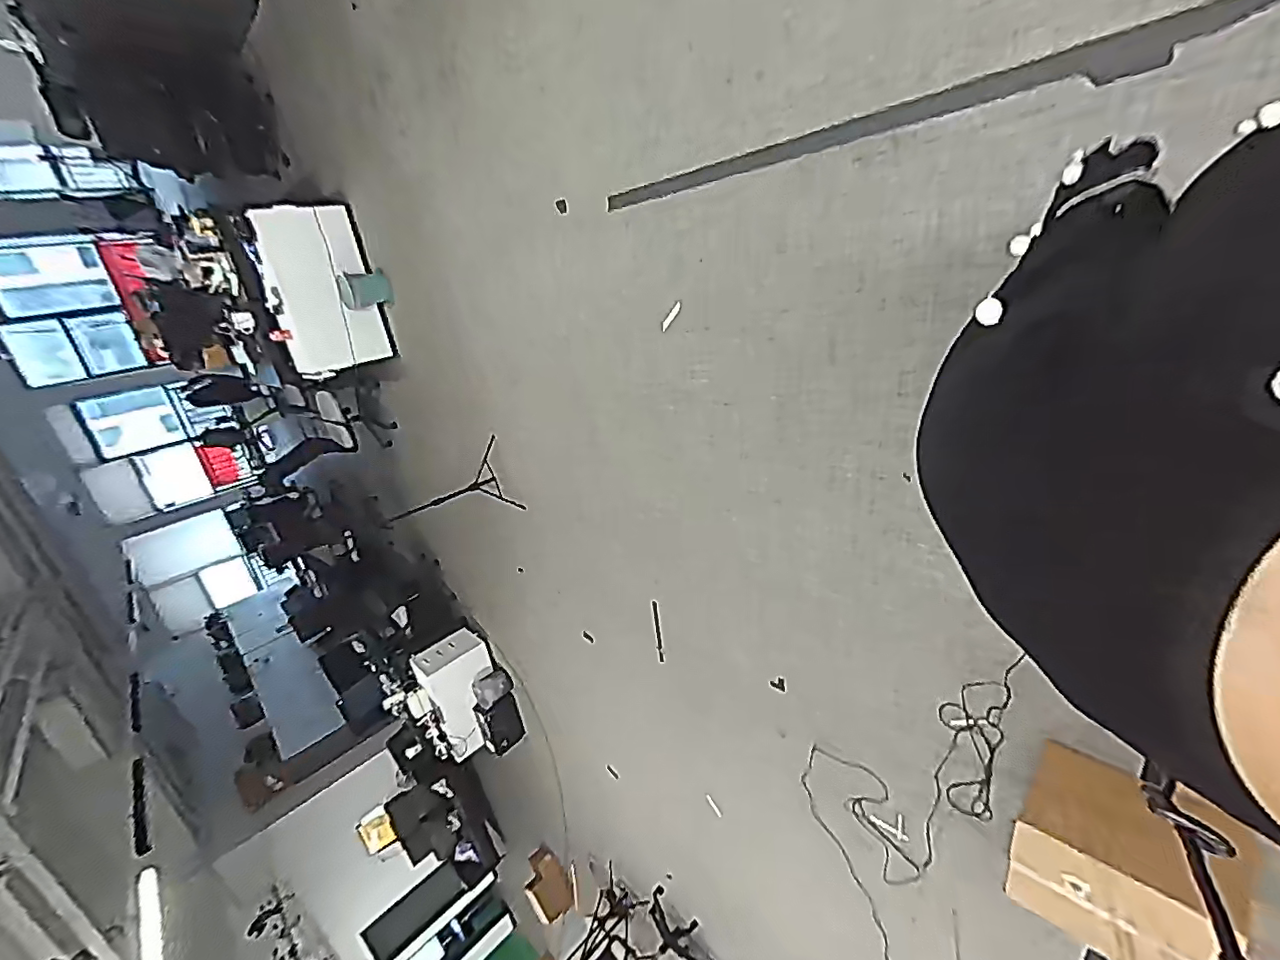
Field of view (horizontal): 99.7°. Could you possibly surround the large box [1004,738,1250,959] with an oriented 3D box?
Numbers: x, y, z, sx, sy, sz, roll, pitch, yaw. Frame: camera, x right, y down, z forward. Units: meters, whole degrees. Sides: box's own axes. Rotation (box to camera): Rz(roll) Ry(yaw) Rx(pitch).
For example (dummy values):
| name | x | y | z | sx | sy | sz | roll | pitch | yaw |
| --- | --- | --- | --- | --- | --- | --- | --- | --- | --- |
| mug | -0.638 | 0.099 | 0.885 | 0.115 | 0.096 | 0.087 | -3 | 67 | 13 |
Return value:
| name | x | y | z | sx | sy | sz | roll | pitch | yaw |
| --- | --- | --- | --- | --- | --- | --- | --- | --- | --- |
| large box | 1.216 | 0.957 | 1.373 | 0.408 | 0.320 | 0.320 | 15 | 122 | 45 |
